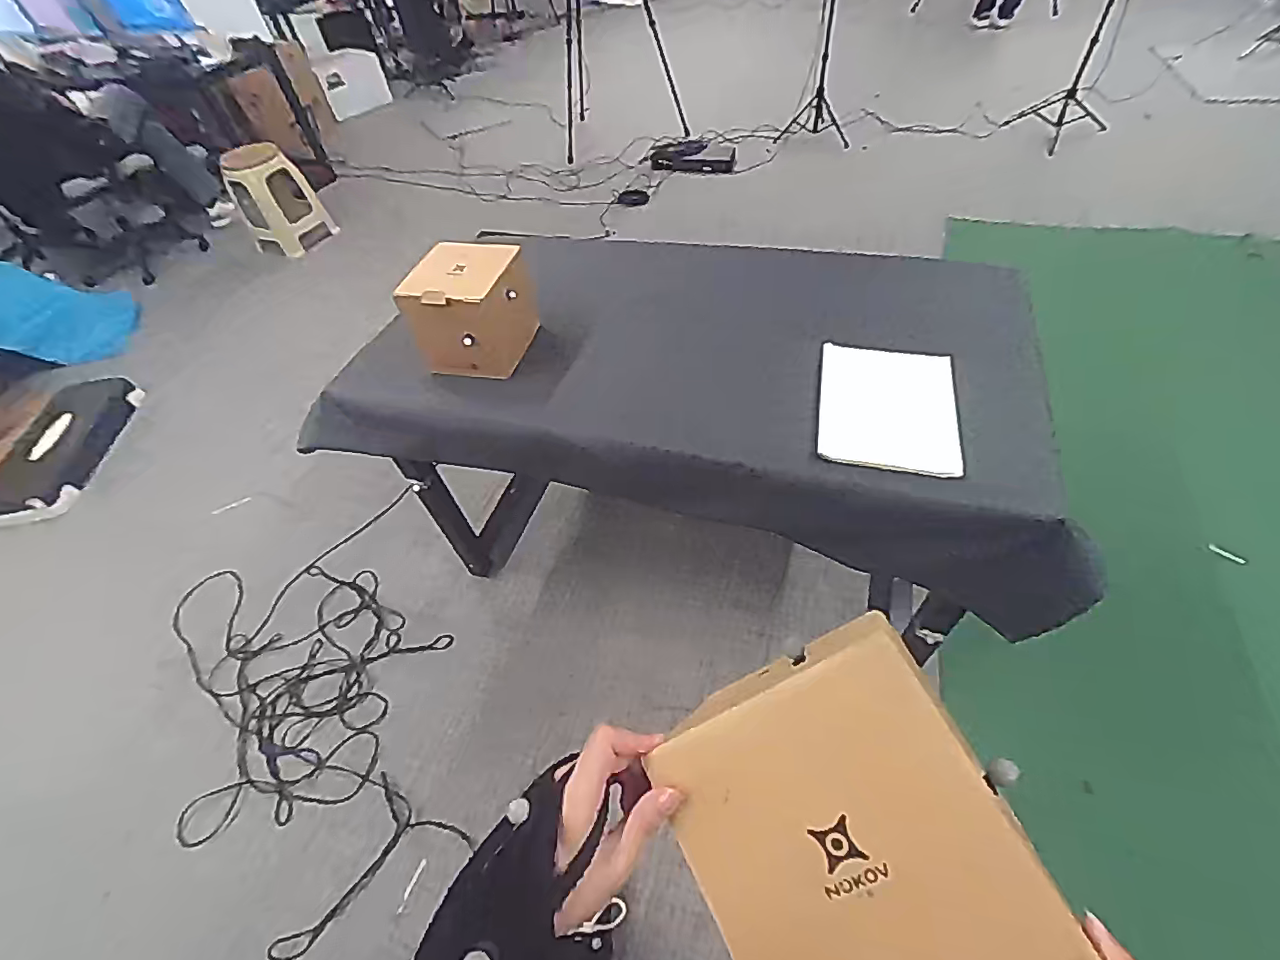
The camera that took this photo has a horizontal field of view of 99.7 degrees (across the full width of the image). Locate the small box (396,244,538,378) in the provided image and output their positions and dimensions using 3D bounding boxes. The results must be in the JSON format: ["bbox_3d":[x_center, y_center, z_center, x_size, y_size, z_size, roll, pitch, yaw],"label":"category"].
[{"bbox_3d":[-0.301,-0.307,0.987,0.168,0.176,0.179,8,51,12],"label":"small box"}]
